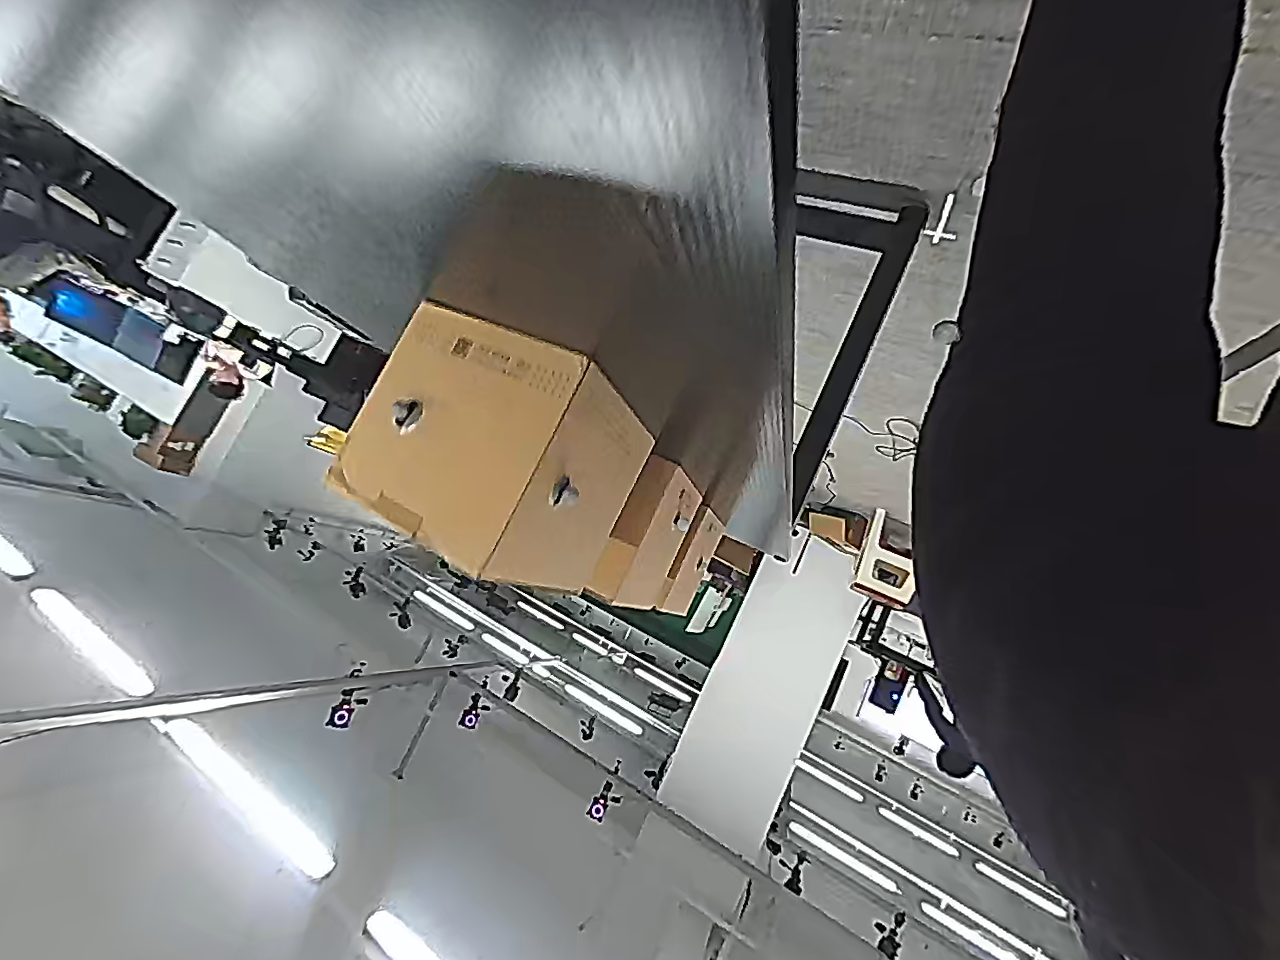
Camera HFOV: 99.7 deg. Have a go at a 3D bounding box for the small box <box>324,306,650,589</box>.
[{"bbox_3d":[-0.114,-0.022,0.467,0.168,0.176,0.179,25,174,22],"label":"small box"}]

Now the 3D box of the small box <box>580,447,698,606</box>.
[{"bbox_3d":[-0.048,0.040,0.681,0.179,0.176,0.168,23,173,20],"label":"small box"}]
